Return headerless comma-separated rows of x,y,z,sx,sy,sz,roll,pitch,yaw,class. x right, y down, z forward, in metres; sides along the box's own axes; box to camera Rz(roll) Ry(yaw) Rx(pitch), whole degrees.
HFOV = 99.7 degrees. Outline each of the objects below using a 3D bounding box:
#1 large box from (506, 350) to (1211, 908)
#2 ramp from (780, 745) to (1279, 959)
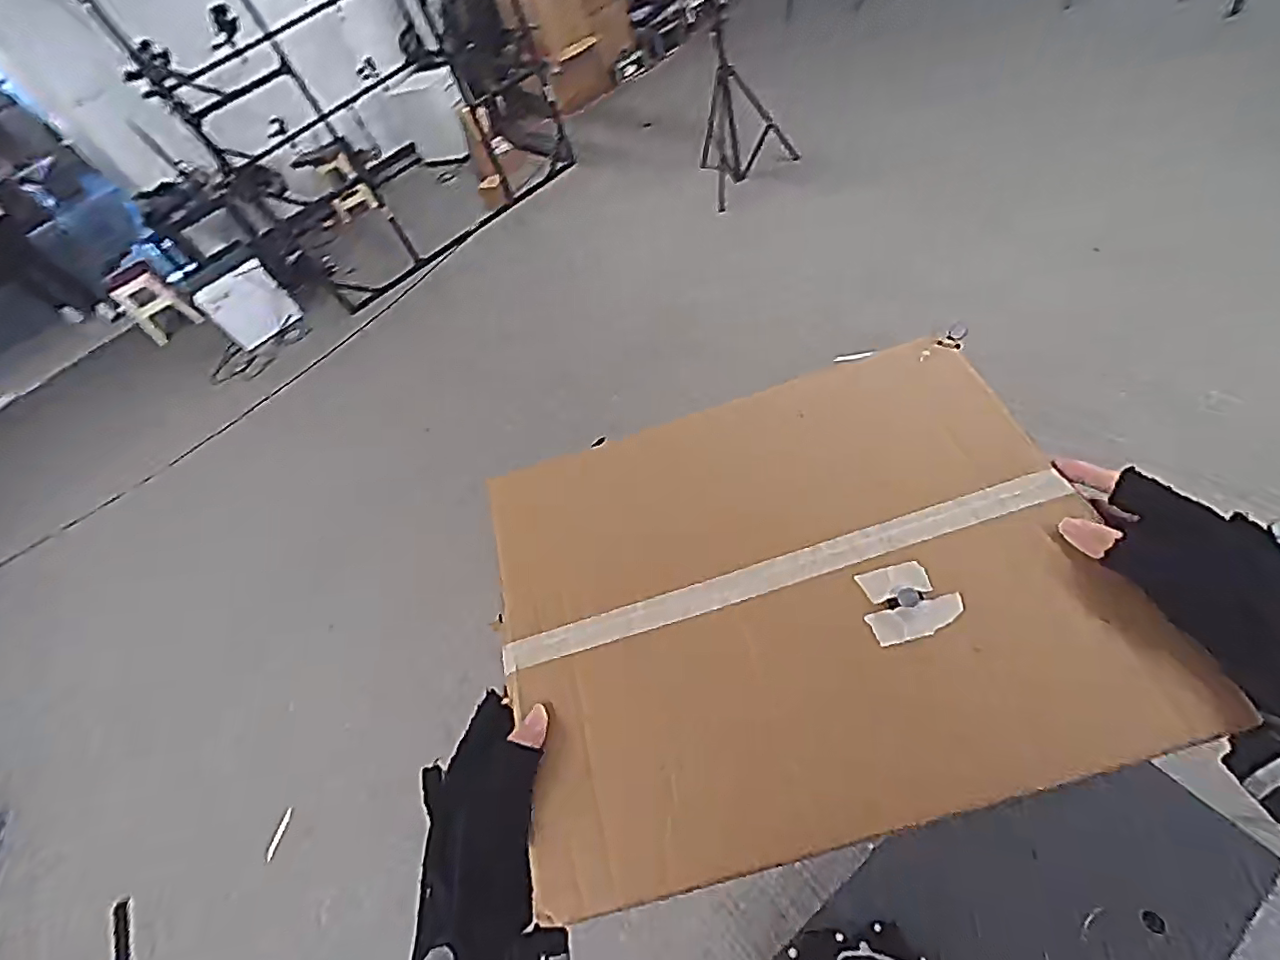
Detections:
0.132,0.146,0.518,0.408,0.320,0.320,-18,58,3,large box
0.735,0.885,1.059,0.991,0.206,0.509,-40,50,-12,ramp
